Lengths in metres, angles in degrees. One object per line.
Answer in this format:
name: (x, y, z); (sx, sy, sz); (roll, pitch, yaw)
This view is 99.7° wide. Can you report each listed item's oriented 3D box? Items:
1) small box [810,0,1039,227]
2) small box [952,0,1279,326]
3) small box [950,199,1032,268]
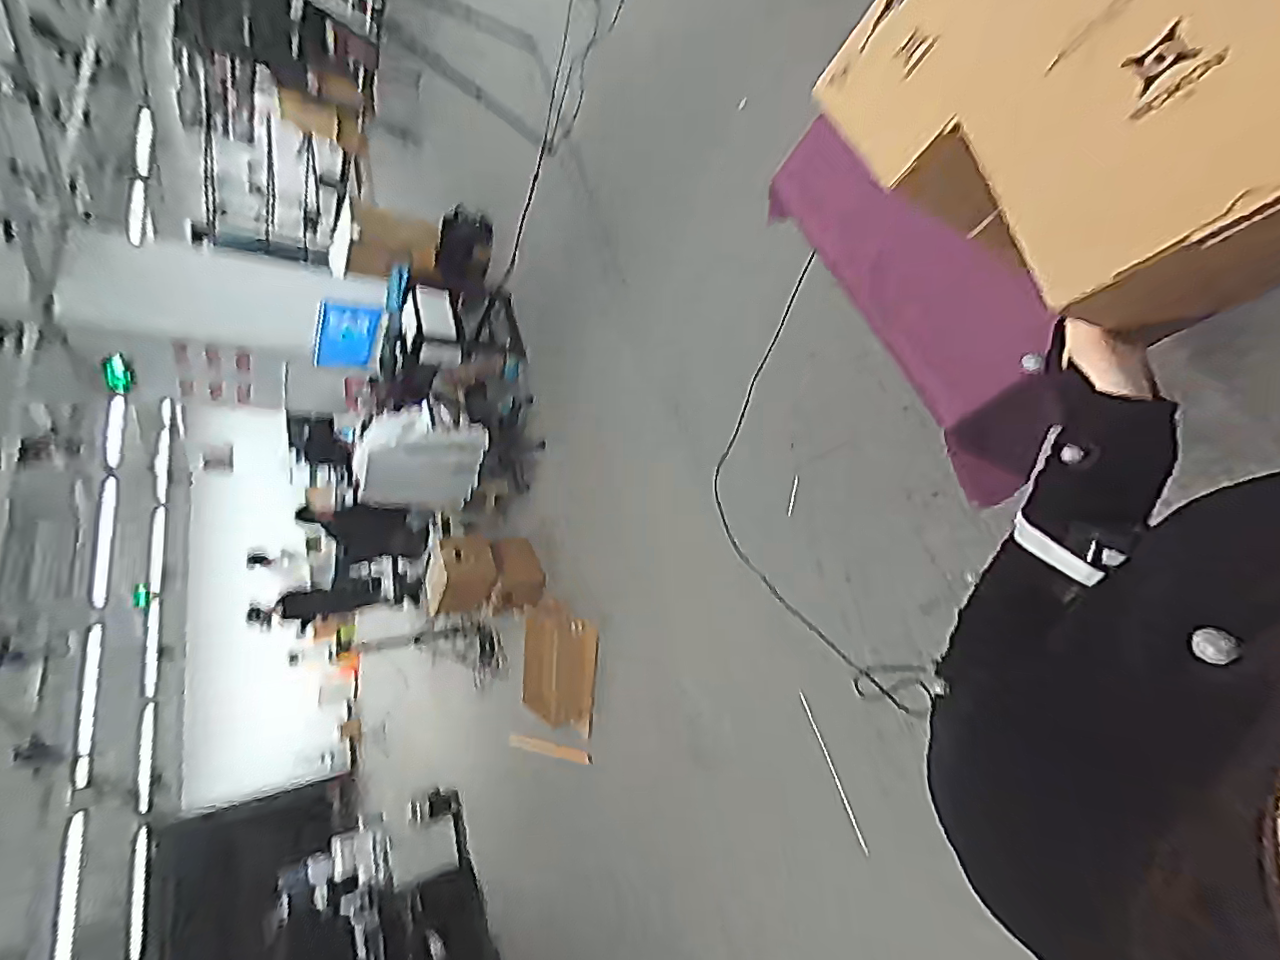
small box: (0.319, -0.388, 0.554); (0.168, 0.176, 0.179); (-46, 55, 43)
small box: (0.329, -0.206, 0.312); (0.168, 0.176, 0.179); (-33, 64, 52)
small box: (0.454, -0.385, 0.649); (0.168, 0.176, 0.179); (-46, 54, 44)
